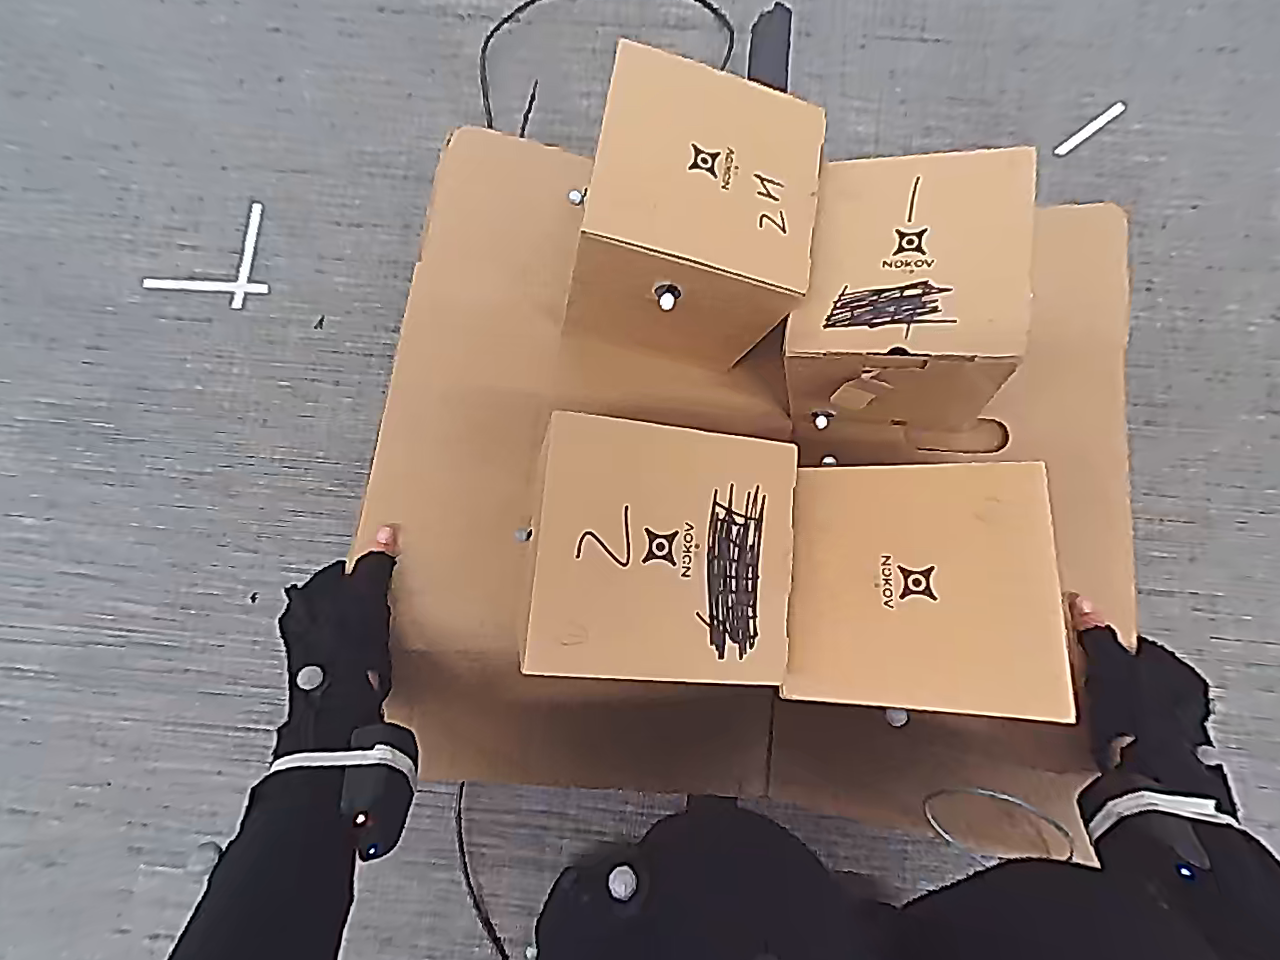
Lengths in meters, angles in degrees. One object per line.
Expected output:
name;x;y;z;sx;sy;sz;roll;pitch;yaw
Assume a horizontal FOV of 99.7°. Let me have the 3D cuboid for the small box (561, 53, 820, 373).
small box;0.032;-0.211;0.480;0.179;0.176;0.168;12;79;-11
